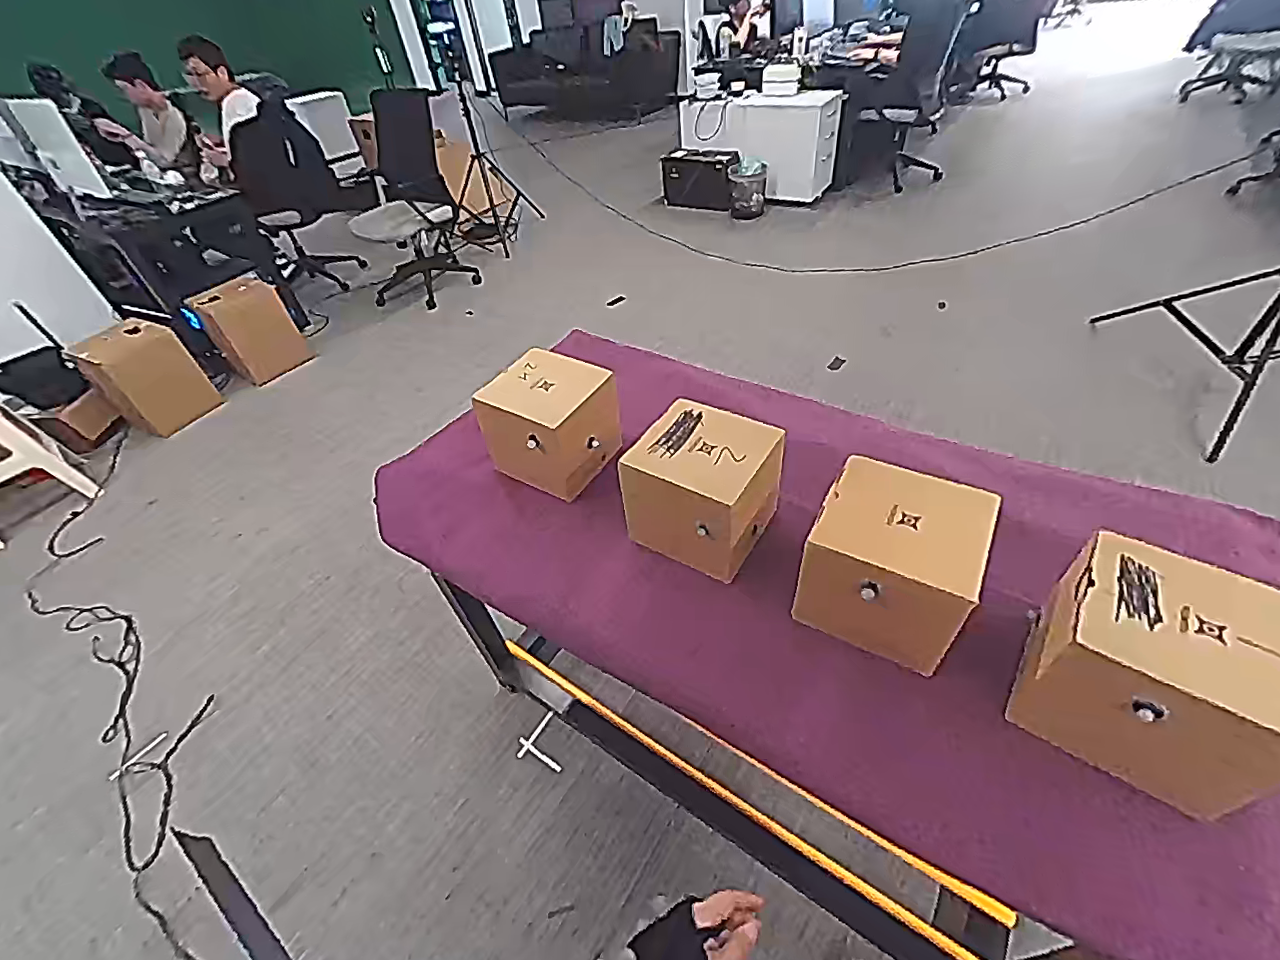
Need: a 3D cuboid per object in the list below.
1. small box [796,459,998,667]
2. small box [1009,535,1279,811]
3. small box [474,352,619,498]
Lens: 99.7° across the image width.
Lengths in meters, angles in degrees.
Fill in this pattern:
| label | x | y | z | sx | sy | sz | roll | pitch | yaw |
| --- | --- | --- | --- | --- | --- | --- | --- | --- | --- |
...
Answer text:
| label | x | y | z | sx | sy | sz | roll | pitch | yaw |
| --- | --- | --- | --- | --- | --- | --- | --- | --- | --- |
| small box | 0.311 | 0.106 | 0.678 | 0.179 | 0.176 | 0.168 | 20 | 50 | 27 |
| small box | 0.514 | 0.194 | 0.551 | 0.179 | 0.176 | 0.168 | 25 | 52 | 30 |
| small box | -0.151 | -0.093 | 0.944 | 0.179 | 0.176 | 0.168 | 22 | 51 | 24 |
